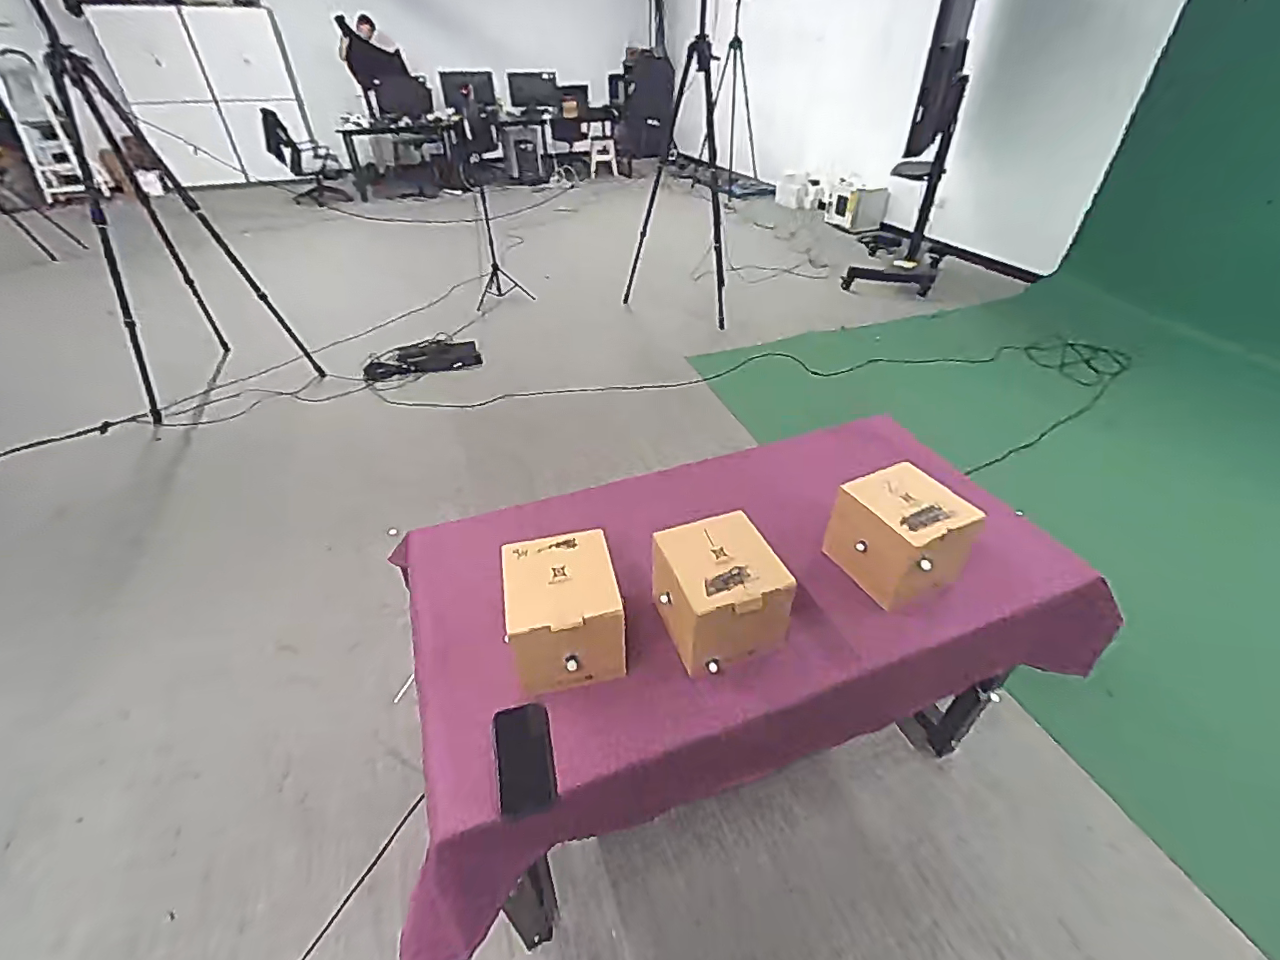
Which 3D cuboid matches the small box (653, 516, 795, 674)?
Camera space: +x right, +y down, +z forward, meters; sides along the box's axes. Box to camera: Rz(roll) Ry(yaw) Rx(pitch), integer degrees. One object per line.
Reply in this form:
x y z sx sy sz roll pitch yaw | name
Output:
0.129 0.191 0.886 0.168 0.176 0.179 -14 39 -15 | small box

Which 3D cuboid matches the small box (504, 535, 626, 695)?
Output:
-0.118 0.219 0.860 0.168 0.176 0.179 -9 40 -10 | small box
